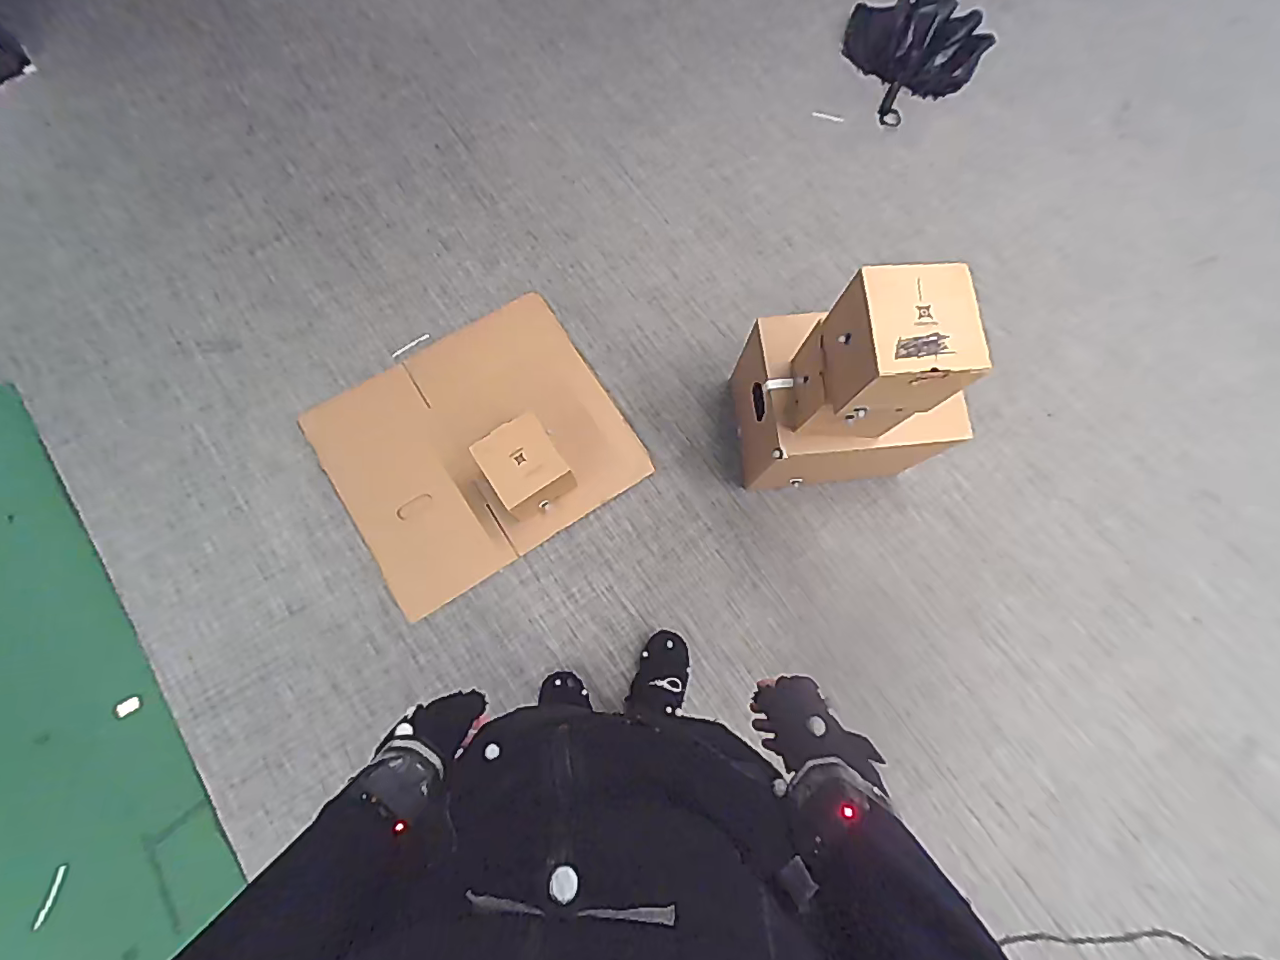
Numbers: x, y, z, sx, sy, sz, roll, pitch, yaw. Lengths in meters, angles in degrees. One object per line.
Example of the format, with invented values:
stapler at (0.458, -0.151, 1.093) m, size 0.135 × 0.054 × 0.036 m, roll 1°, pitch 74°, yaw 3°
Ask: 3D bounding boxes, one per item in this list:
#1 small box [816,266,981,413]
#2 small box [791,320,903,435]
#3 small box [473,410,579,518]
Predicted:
small box at (0.401, -0.214, 0.869) m, size 0.168 × 0.176 × 0.179 m, roll -6°, pitch 78°, yaw -3°
small box at (0.397, -0.189, 1.034) m, size 0.179 × 0.176 × 0.168 m, roll 0°, pitch 75°, yaw -2°
small box at (-0.262, -0.030, 1.278) m, size 0.168 × 0.176 × 0.179 m, roll -34°, pitch 80°, yaw -7°
